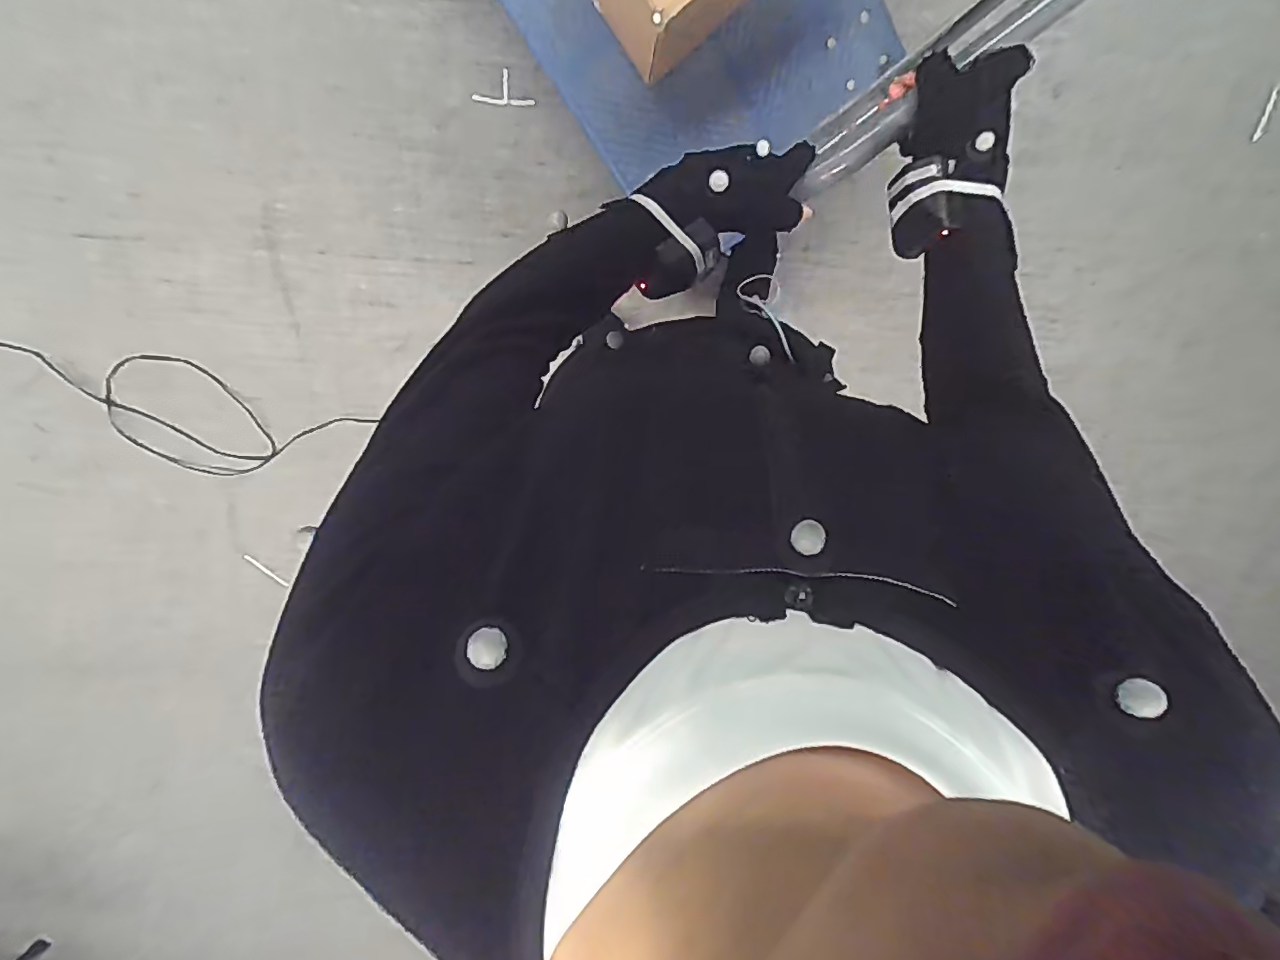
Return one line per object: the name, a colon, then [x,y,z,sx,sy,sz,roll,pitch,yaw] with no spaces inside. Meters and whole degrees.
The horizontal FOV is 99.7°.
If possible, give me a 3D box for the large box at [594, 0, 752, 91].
large box: [0.093,-0.919,0.825,0.408,0.320,0.320,-37,108,13]
